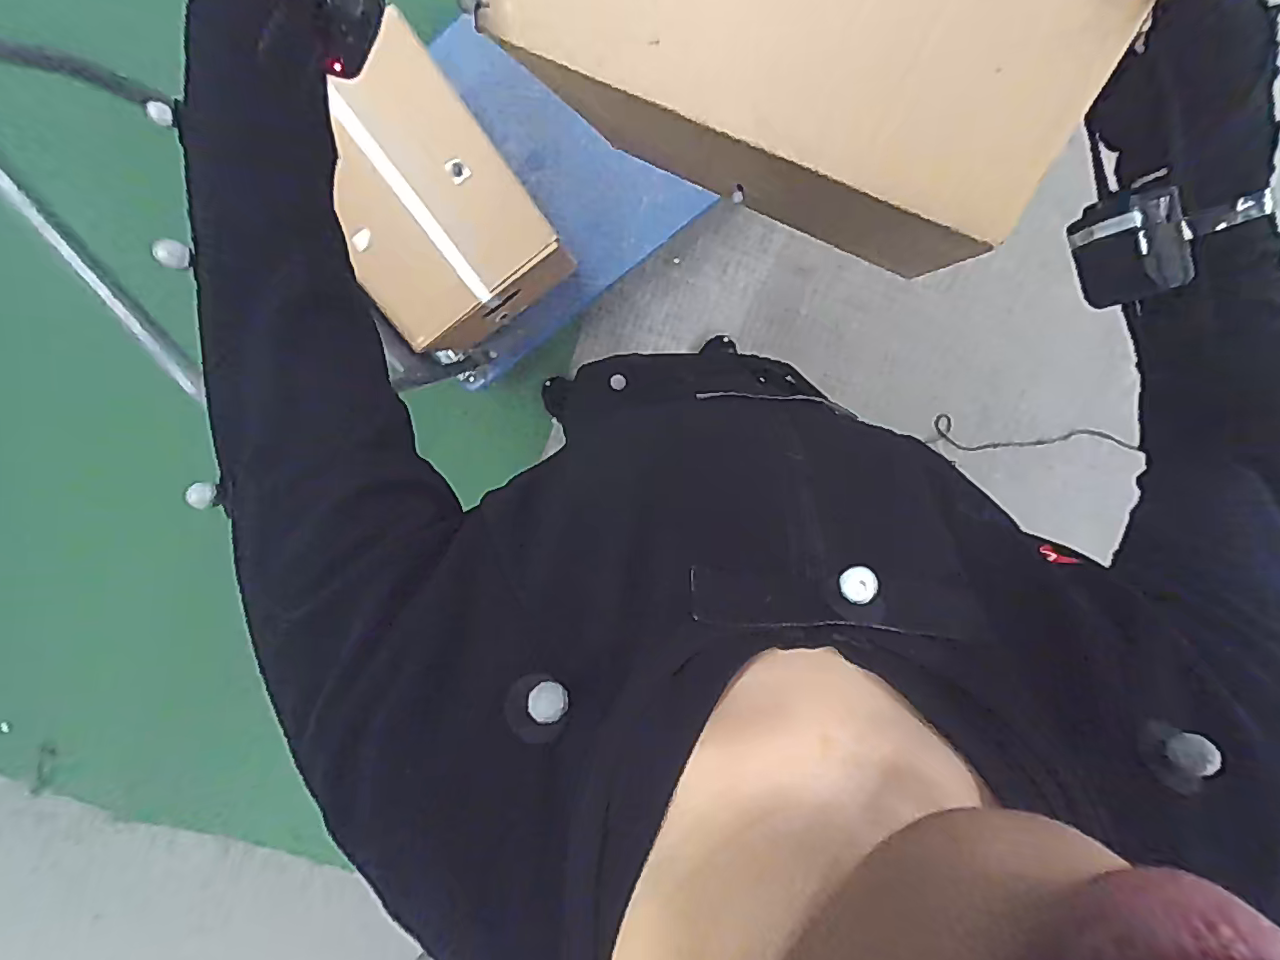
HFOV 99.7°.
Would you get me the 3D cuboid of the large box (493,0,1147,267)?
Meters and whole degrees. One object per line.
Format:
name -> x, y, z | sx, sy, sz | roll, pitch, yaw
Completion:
large box -> 0.162, -0.412, 0.458 | 0.408, 0.320, 0.320 | 28, 112, 8
